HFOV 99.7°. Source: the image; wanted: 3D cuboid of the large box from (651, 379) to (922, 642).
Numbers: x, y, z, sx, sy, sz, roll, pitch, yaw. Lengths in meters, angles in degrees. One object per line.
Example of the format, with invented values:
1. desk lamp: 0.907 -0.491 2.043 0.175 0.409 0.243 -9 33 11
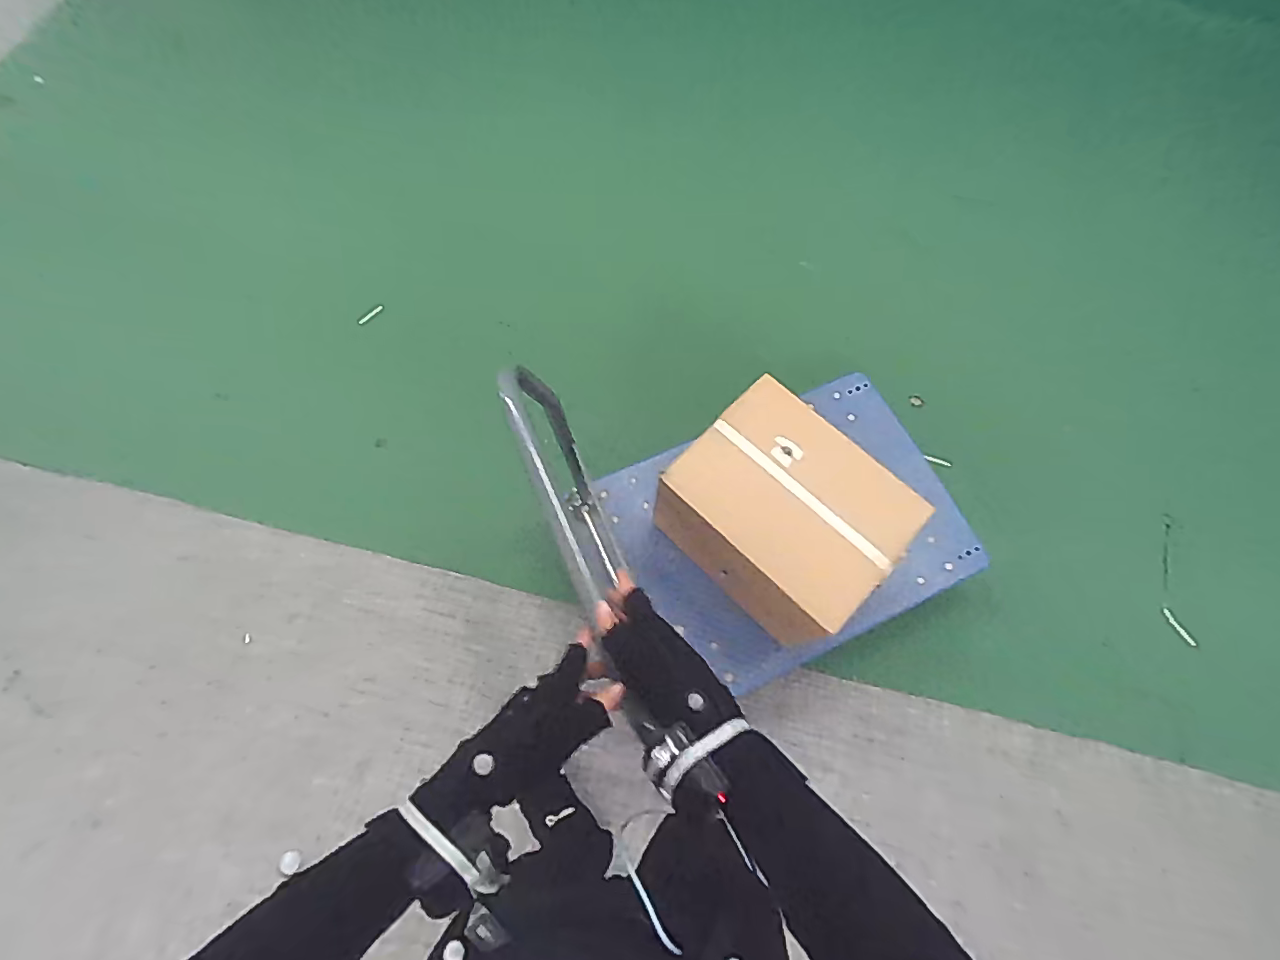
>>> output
1. large box: 0.268 0.079 1.128 0.320 0.320 0.408 -42 75 -15
